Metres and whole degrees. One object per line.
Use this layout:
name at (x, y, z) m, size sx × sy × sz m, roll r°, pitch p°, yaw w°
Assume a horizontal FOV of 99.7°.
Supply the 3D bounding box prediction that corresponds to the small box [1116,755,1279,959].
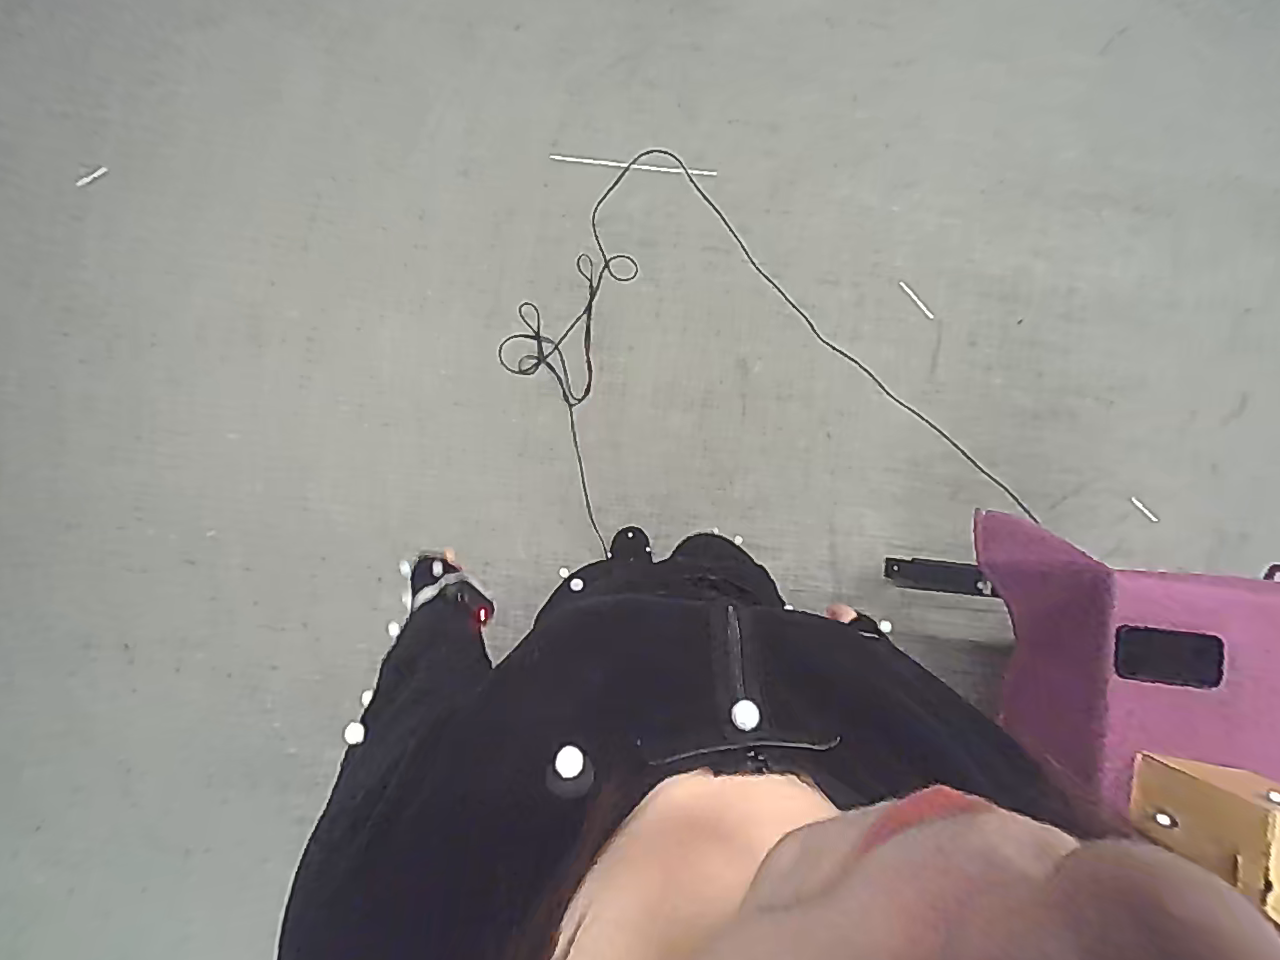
small box at (0.781, 0.482, 0.697) m, size 0.179 × 0.176 × 0.168 m, roll 11°, pitch 86°, yaw 0°
